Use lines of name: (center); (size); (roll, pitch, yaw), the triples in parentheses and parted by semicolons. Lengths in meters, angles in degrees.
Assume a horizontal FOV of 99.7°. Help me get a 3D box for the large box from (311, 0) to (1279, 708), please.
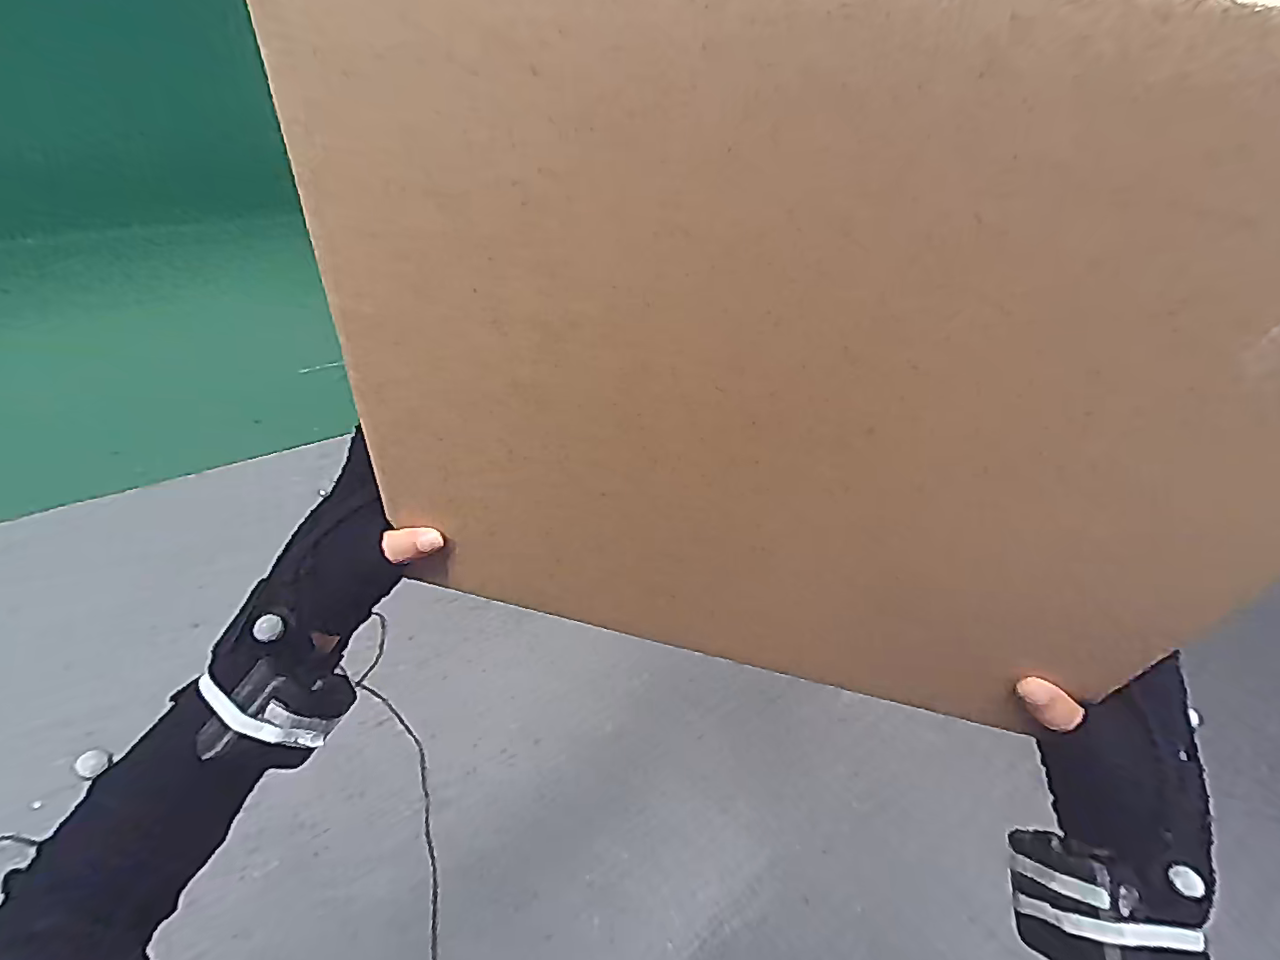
large box: (0.095, -0.104, 0.350); (0.408, 0.320, 0.320); (13, 42, 2)
